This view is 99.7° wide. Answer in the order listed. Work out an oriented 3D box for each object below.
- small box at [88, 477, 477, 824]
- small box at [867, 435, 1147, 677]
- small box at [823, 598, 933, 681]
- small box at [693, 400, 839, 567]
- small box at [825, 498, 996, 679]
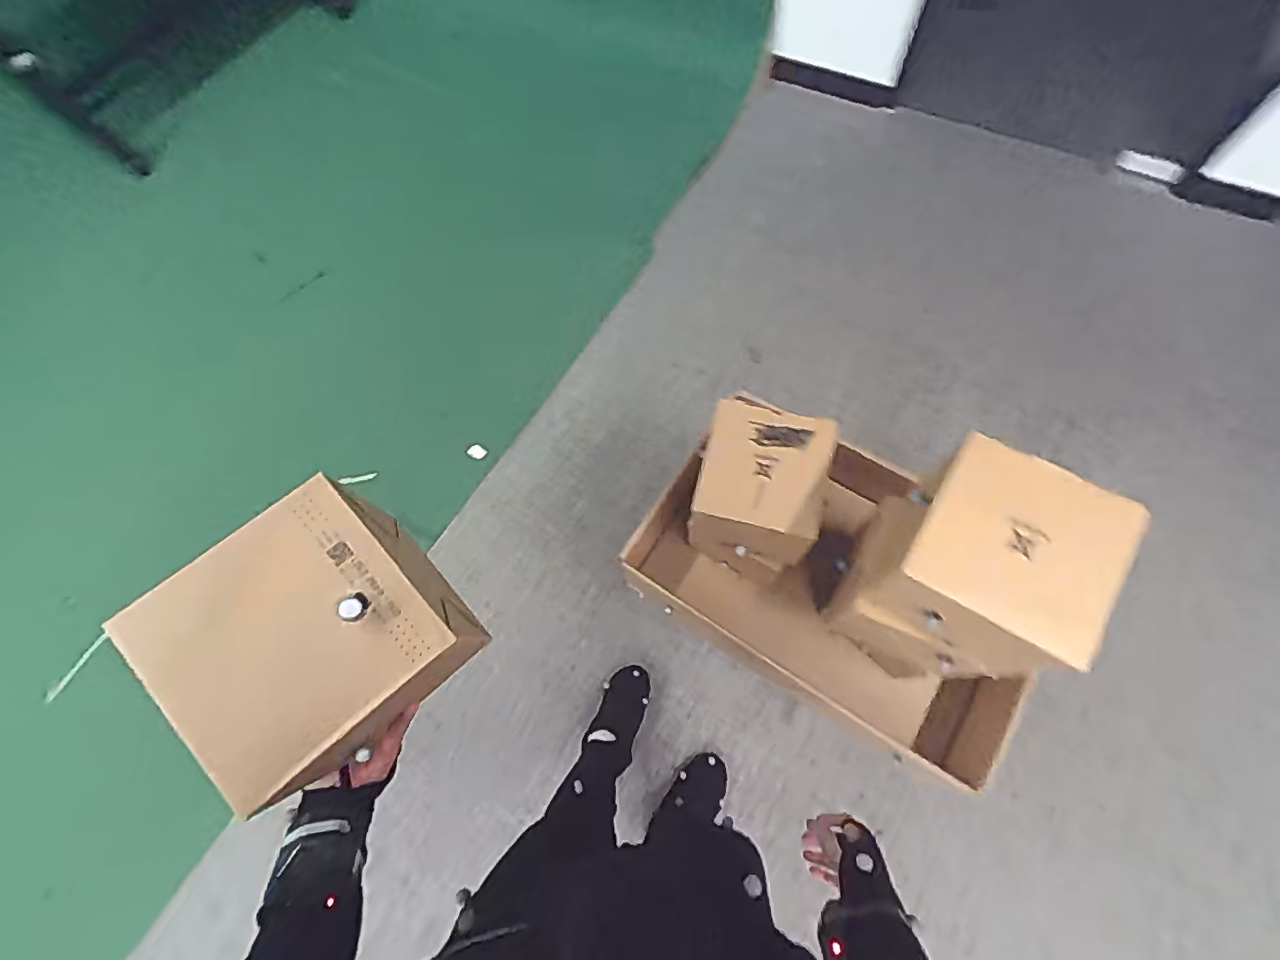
[{"bbox_3d":[-0.255,0.125,0.443,0.176,0.179,0.168,-41,83,-16],"label":"small box"},{"bbox_3d":[0.366,0.090,0.576,0.168,0.176,0.179,31,74,18],"label":"small box"},{"bbox_3d":[0.420,0.206,0.878,0.168,0.176,0.179,41,78,19],"label":"small box"},{"bbox_3d":[0.178,0.011,0.801,0.168,0.176,0.179,14,71,12],"label":"small box"},{"bbox_3d":[0.372,0.152,0.726,0.179,0.176,0.168,23,71,15],"label":"small box"}]
